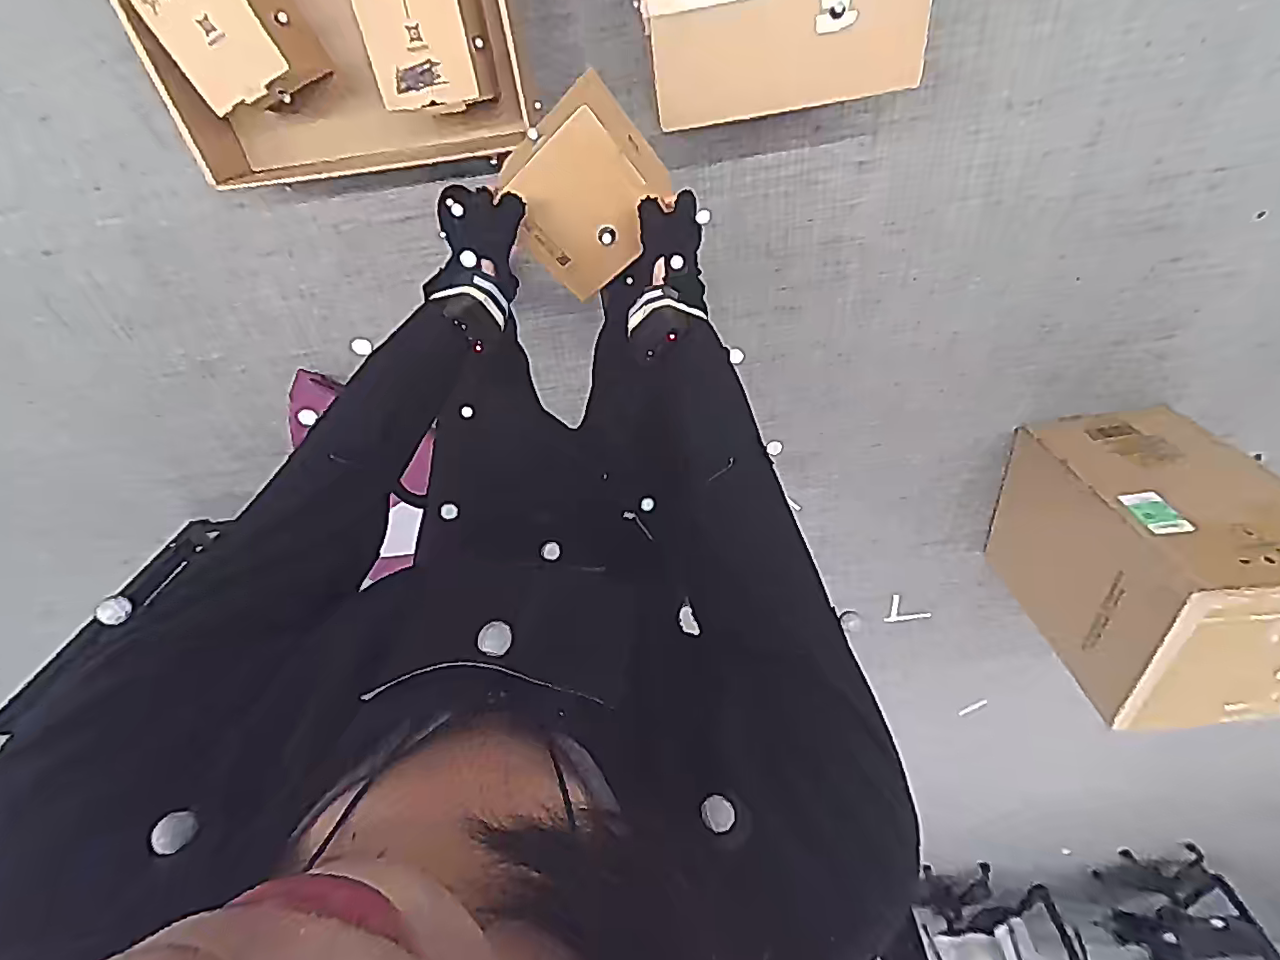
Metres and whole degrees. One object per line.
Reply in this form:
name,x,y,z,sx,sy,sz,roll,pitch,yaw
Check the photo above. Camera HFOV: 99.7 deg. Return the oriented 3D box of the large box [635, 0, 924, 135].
large box,0.200,-0.789,0.881,0.408,0.320,0.320,-8,127,4
